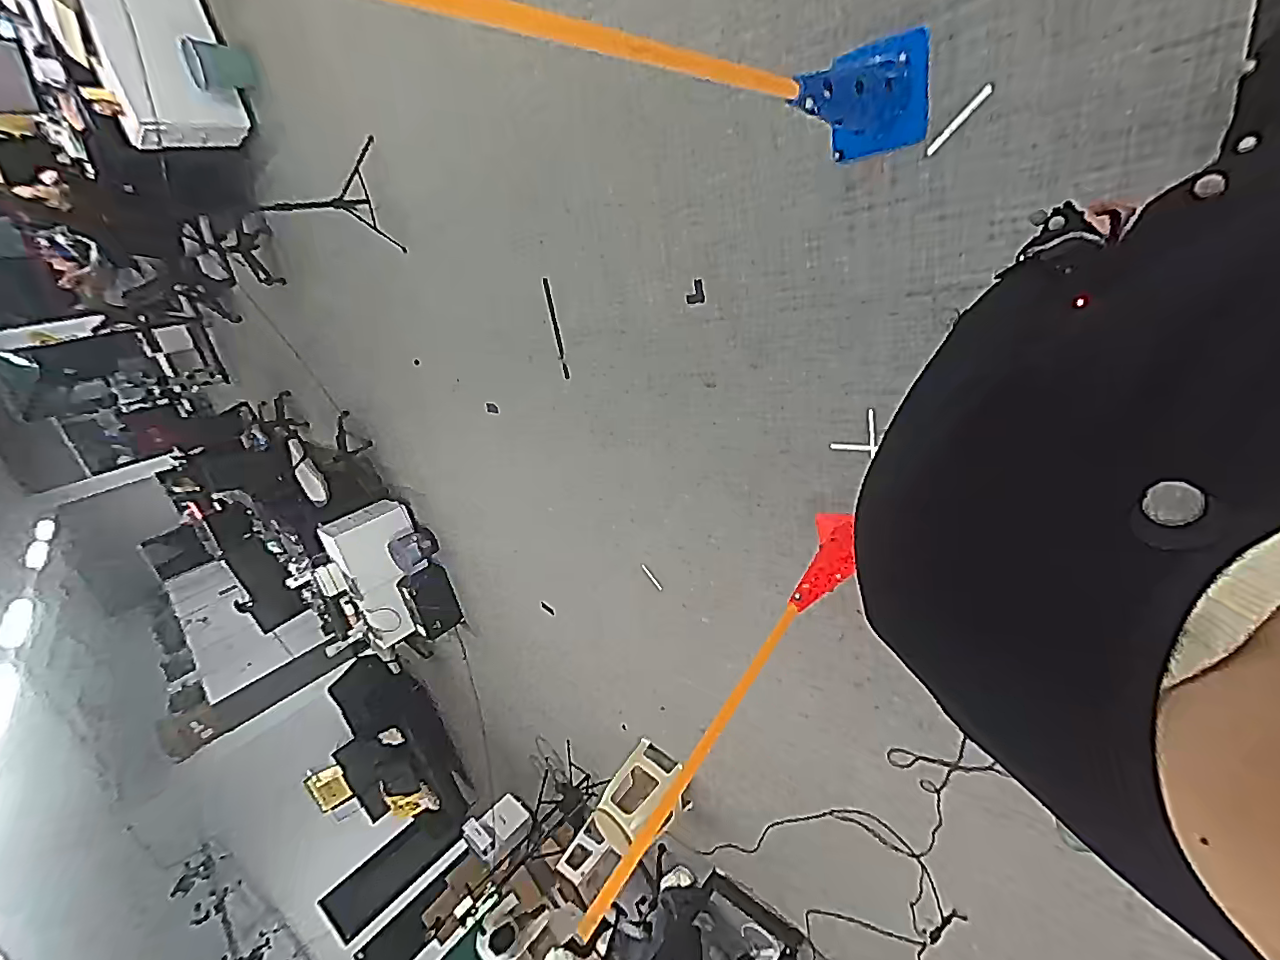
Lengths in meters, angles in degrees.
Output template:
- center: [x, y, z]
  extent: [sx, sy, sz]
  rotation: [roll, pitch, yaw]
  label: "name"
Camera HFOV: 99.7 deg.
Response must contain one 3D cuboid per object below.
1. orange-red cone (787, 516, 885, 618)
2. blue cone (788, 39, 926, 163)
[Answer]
- center: [0.515, 0.271, 1.511]
  extent: [0.199, 0.360, 0.198]
  rotation: [3, 116, 45]
  label: "orange-red cone"
- center: [0.391, -0.726, 1.036]
  extent: [0.193, 0.380, 0.192]
  rotation: [13, 123, 43]
  label: "blue cone"
